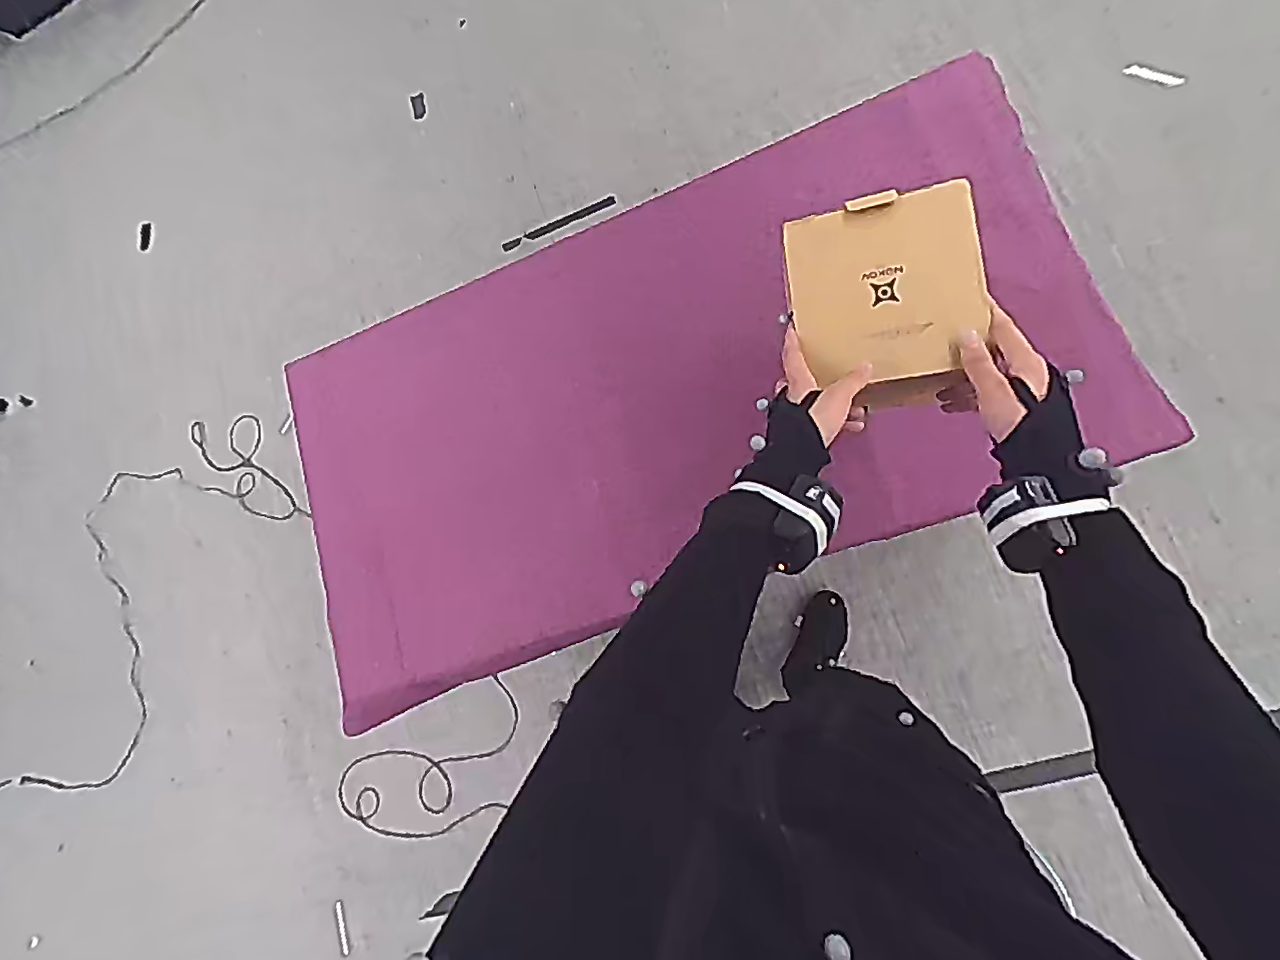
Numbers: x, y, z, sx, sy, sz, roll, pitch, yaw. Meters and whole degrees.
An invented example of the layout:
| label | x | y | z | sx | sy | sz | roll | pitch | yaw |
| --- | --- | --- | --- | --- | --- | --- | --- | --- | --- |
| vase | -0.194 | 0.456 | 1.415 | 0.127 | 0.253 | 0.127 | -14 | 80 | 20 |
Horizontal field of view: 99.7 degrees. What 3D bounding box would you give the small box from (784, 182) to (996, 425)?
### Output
| label | x | y | z | sx | sy | sz | roll | pitch | yaw |
| --- | --- | --- | --- | --- | --- | --- | --- | --- | --- |
| small box | 0.243 | -0.166 | 0.569 | 0.168 | 0.176 | 0.179 | -7 | 84 | 16 |
